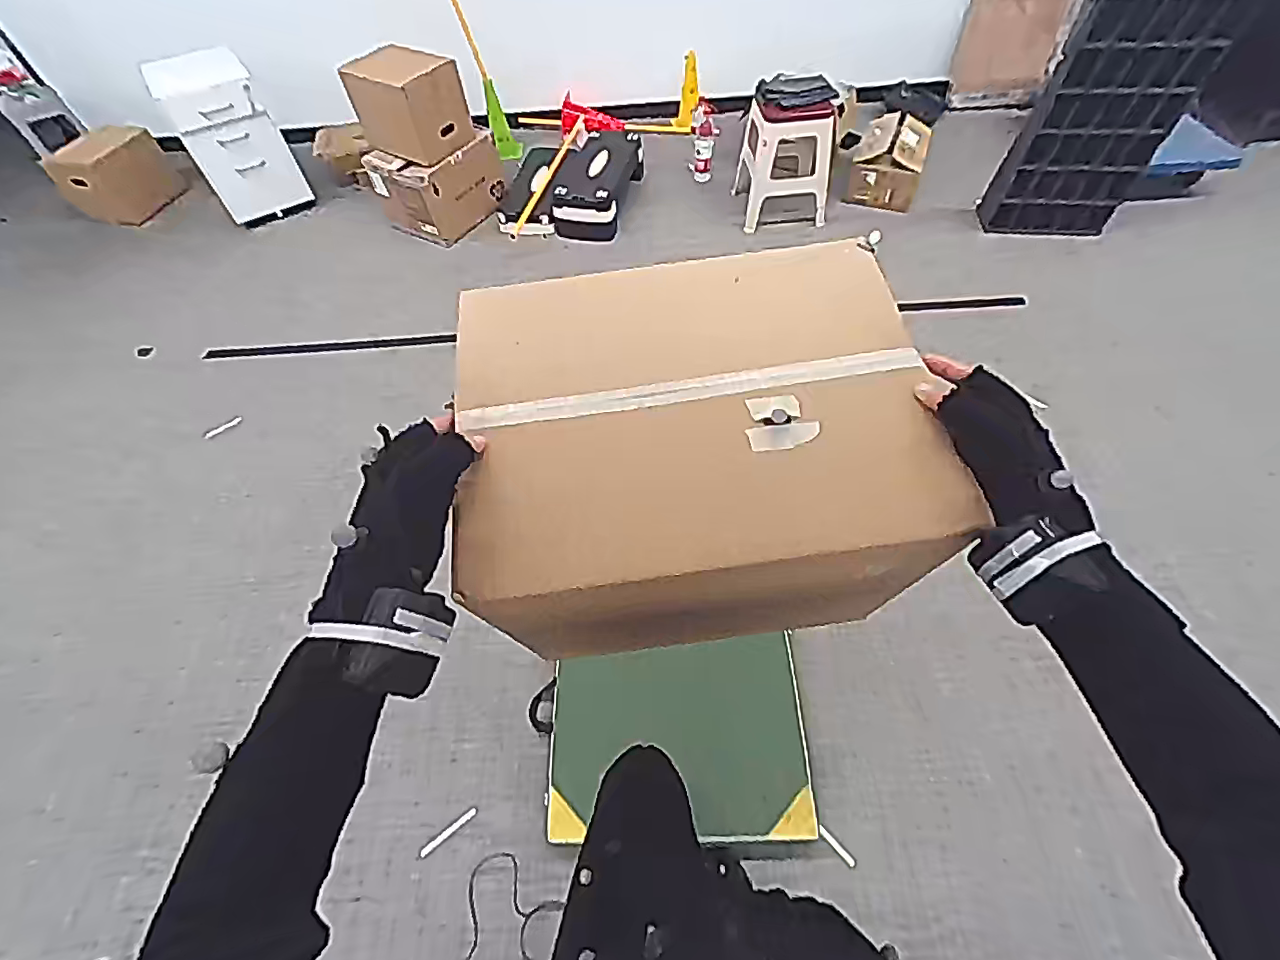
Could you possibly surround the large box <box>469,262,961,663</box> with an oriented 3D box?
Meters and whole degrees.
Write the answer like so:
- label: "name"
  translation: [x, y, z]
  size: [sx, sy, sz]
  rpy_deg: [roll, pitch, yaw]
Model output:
- label: "large box"
  translation: [0.047, 0.002, 0.624]
  size: [0.408, 0.320, 0.320]
  rpy_deg: [-8, 63, -1]
